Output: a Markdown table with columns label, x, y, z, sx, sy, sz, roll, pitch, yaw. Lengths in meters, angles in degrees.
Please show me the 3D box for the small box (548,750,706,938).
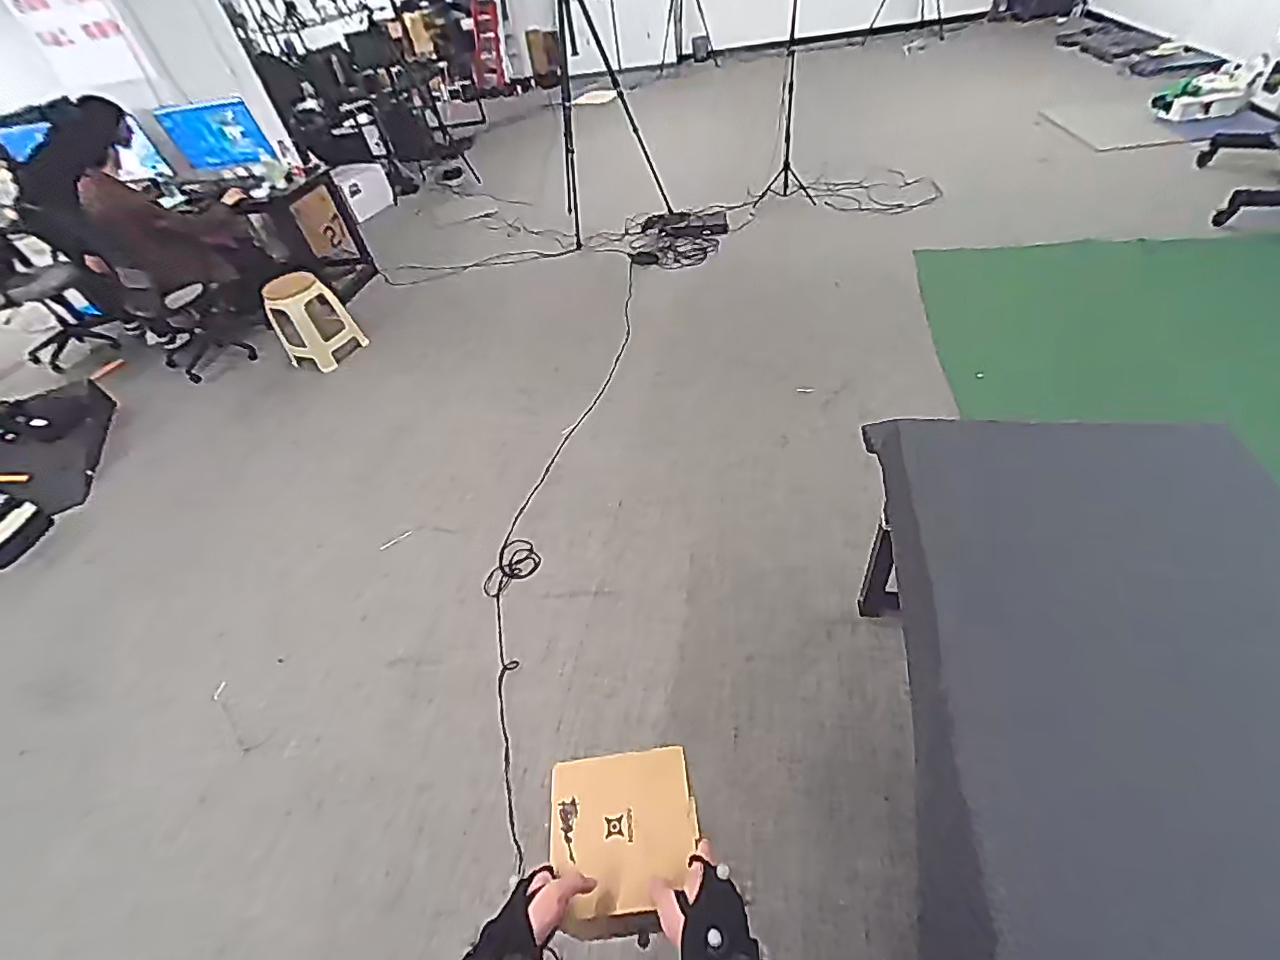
| label | x | y | z | sx | sy | sz | roll | pitch | yaw |
| --- | --- | --- | --- | --- | --- | --- | --- | --- | --- |
| small box | -0.011 | 0.471 | 0.699 | 0.179 | 0.176 | 0.168 | -8 | 44 | 2 |
